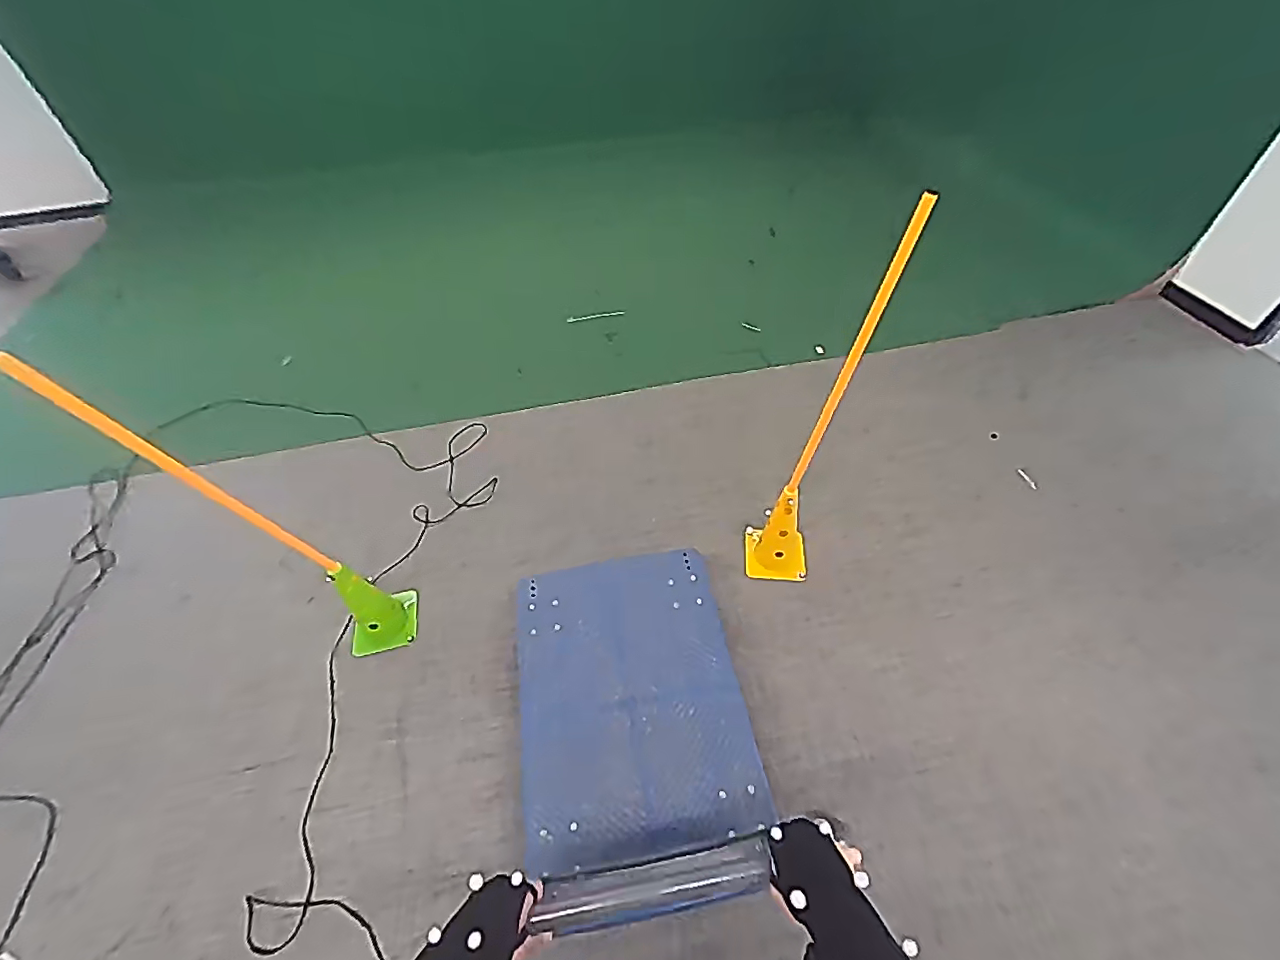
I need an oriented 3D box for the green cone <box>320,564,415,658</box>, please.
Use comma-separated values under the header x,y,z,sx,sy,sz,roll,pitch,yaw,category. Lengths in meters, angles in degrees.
x,y,z,sx,sy,sz,roll,pitch,yaw,category
-0.858,0.362,1.651,0.202,0.368,0.200,-14,50,-6,green cone
